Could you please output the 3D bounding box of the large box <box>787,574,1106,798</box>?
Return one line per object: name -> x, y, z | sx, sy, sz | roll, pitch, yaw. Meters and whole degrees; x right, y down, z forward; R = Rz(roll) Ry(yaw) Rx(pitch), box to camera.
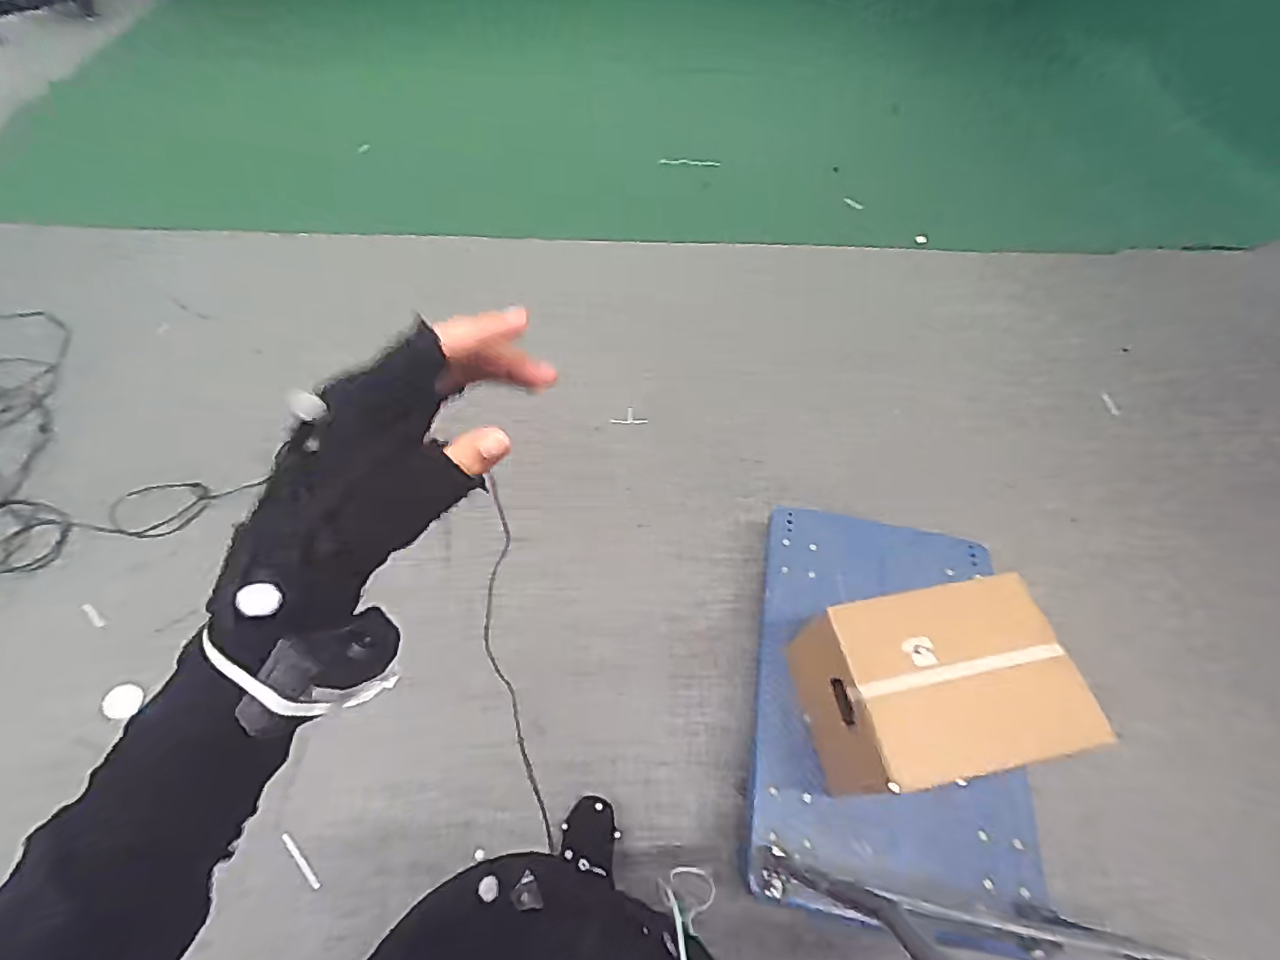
large box -> 0.568, 0.423, 1.092 | 0.408, 0.320, 0.320 | -10, 59, -7
